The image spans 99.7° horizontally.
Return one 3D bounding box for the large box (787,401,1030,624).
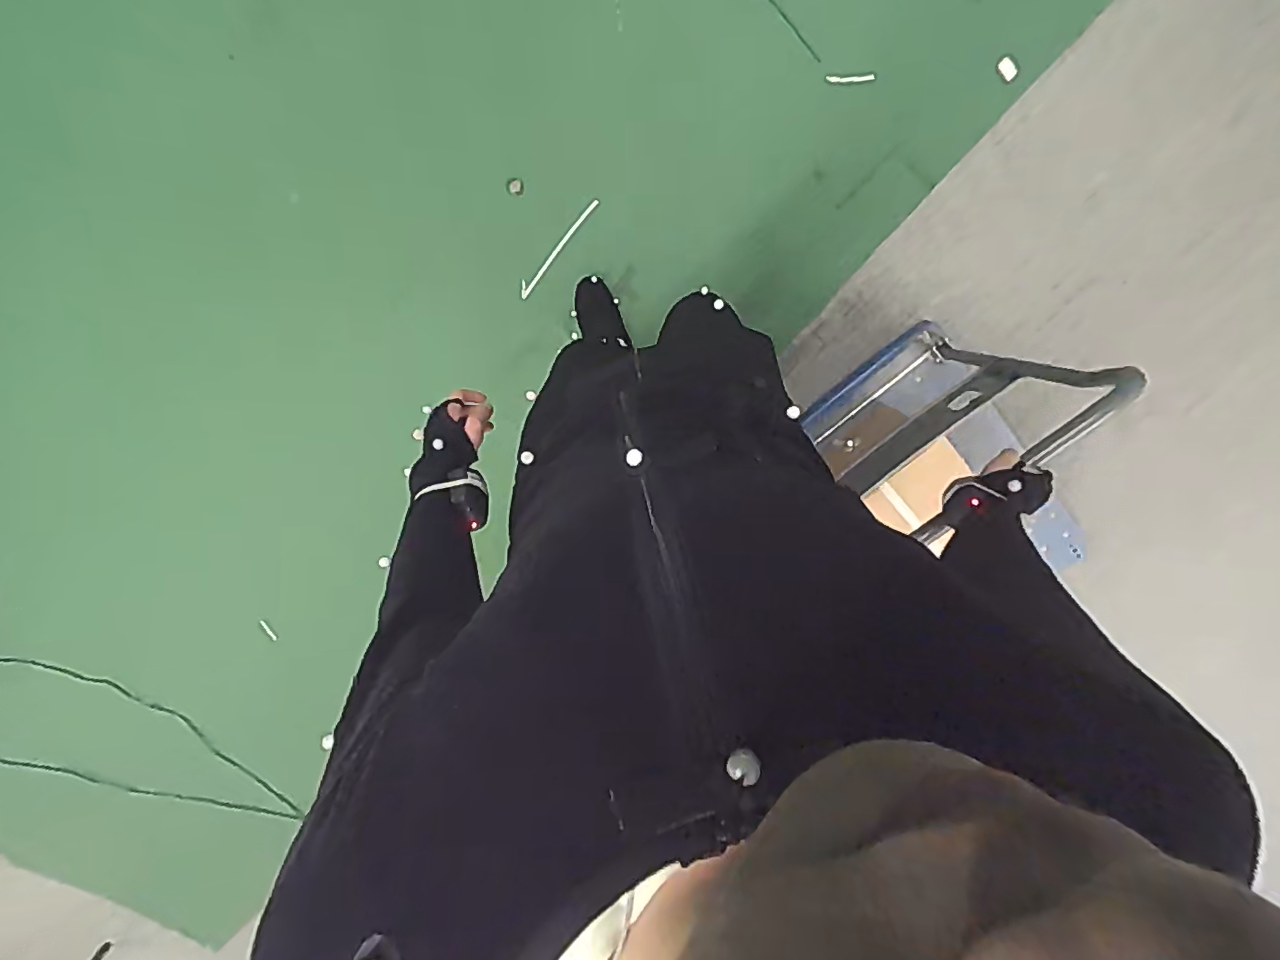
[{"bbox_3d":[0.645,0.069,1.357,0.320,0.320,0.408,-41,106,14],"label":"large box"}]
